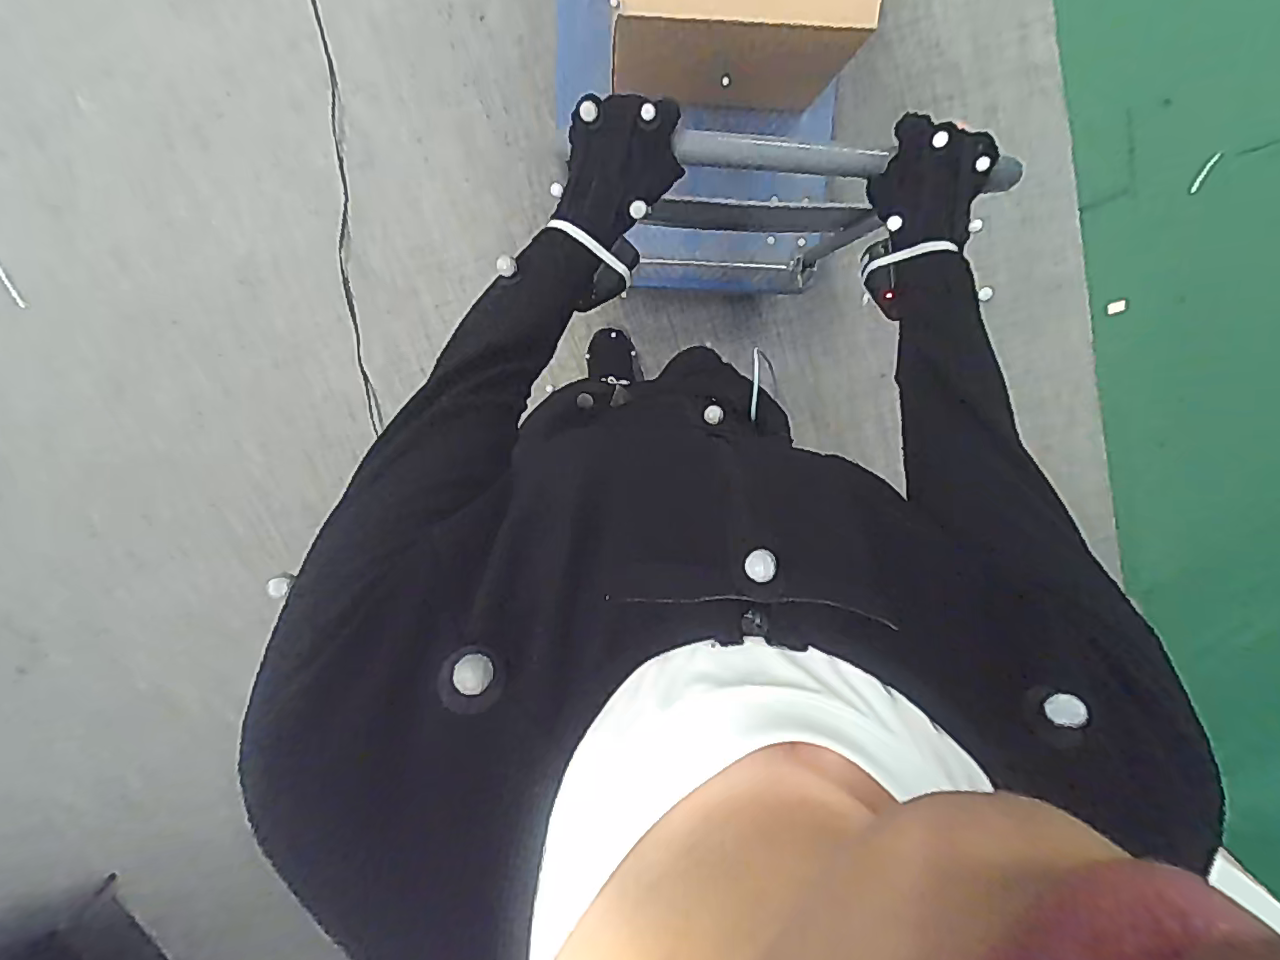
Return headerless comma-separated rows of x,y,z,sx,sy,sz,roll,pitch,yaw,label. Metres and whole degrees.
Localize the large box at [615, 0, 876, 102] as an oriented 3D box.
0.160,-0.889,0.933,0.408,0.320,0.320,0,104,-3,large box
